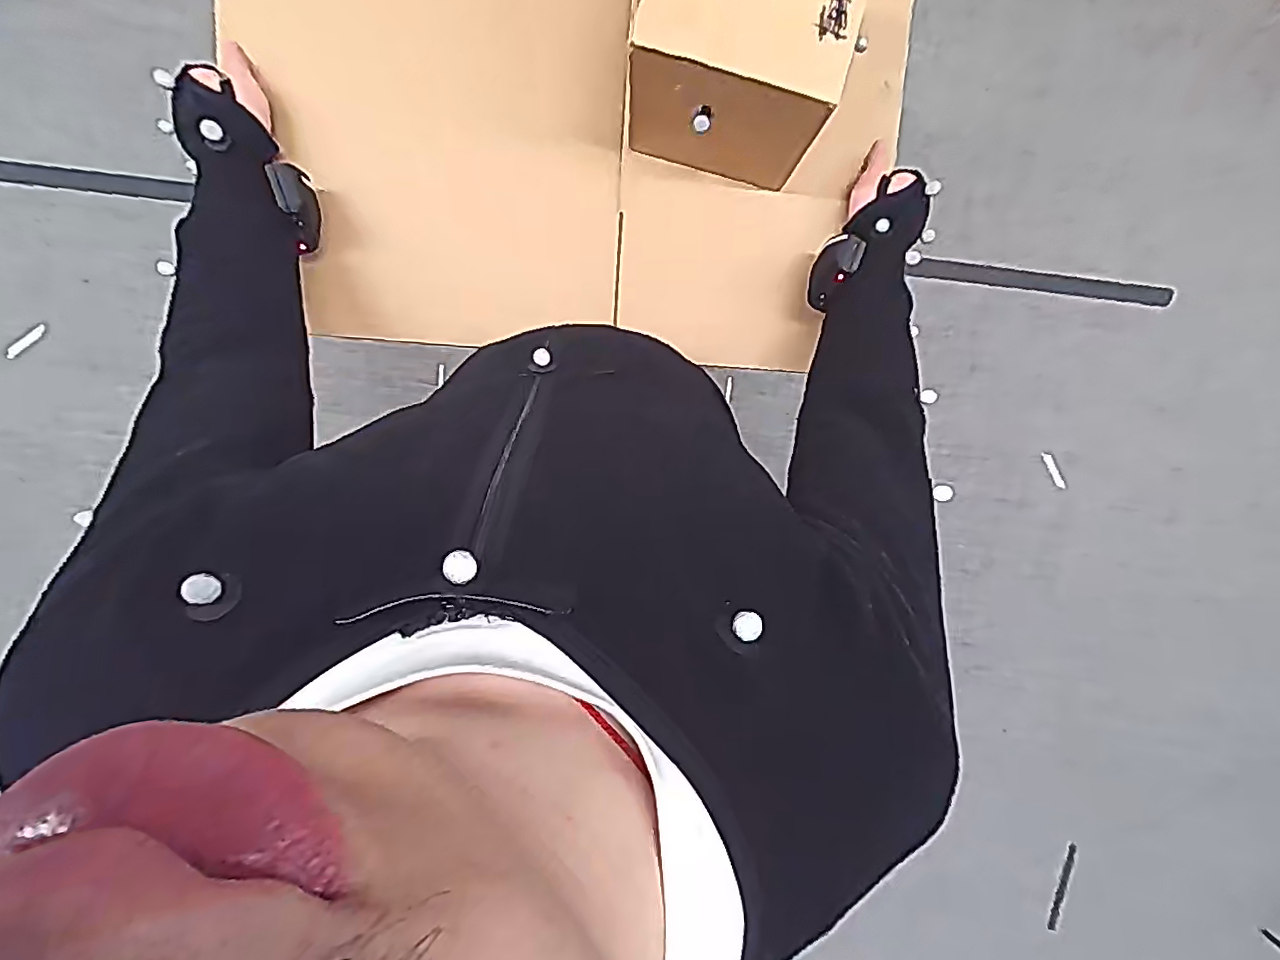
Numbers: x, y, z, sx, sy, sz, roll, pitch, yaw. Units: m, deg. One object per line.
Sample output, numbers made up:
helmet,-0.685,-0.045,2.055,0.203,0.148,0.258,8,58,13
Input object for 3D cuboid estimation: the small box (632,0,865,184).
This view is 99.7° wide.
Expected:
small box,0.096,-0.411,0.508,0.179,0.176,0.168,15,96,-2
